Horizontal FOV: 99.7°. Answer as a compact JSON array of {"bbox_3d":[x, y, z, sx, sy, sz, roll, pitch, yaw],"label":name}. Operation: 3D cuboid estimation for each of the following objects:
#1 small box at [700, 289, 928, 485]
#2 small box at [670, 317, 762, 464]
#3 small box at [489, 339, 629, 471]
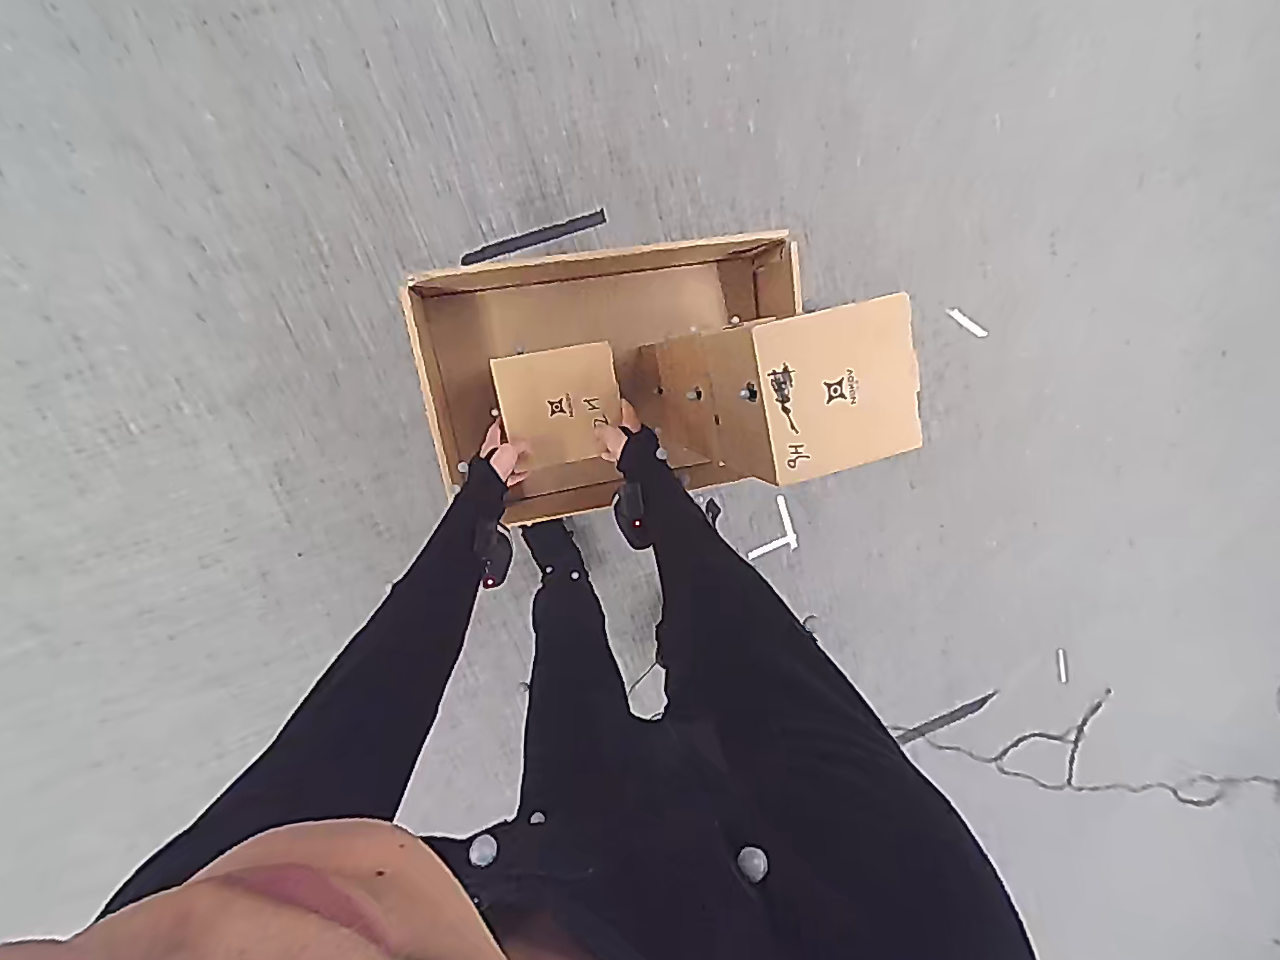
[{"bbox_3d":[0.188,-0.108,0.613,0.179,0.176,0.168,-15,103,-10],"label":"small box"},{"bbox_3d":[0.151,-0.135,0.770,0.168,0.176,0.179,-13,103,-10],"label":"small box"},{"bbox_3d":[-0.128,-0.118,0.841,0.179,0.176,0.168,-12,103,-12],"label":"small box"}]
